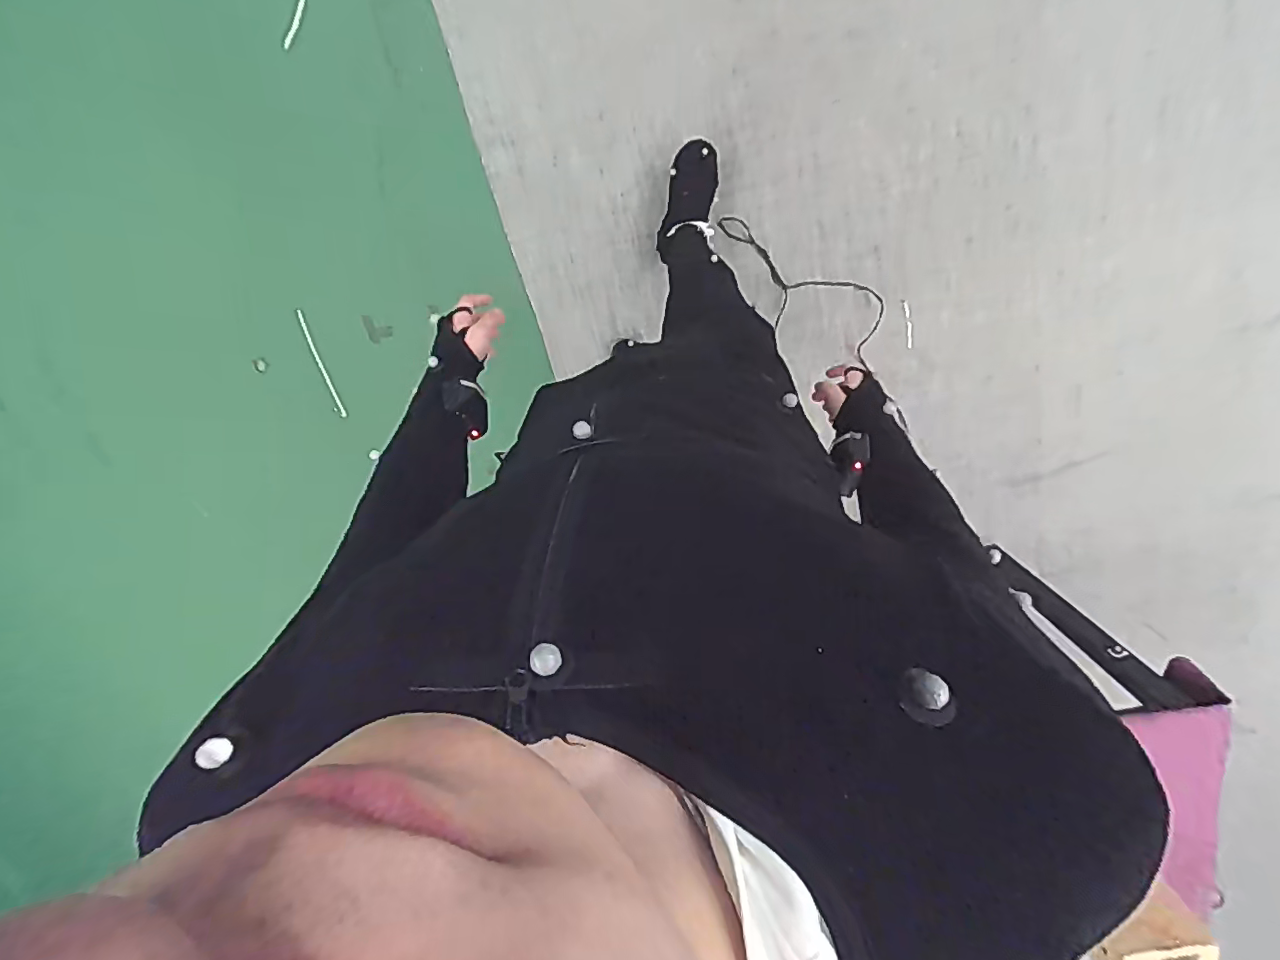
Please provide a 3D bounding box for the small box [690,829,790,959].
[{"bbox_3d":[0.202,0.861,1.112,0.168,0.176,0.179,-12,111,6],"label":"small box"}]

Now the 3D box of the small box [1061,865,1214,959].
[{"bbox_3d":[0.997,0.919,1.100,0.168,0.176,0.179,-14,109,8],"label":"small box"}]
